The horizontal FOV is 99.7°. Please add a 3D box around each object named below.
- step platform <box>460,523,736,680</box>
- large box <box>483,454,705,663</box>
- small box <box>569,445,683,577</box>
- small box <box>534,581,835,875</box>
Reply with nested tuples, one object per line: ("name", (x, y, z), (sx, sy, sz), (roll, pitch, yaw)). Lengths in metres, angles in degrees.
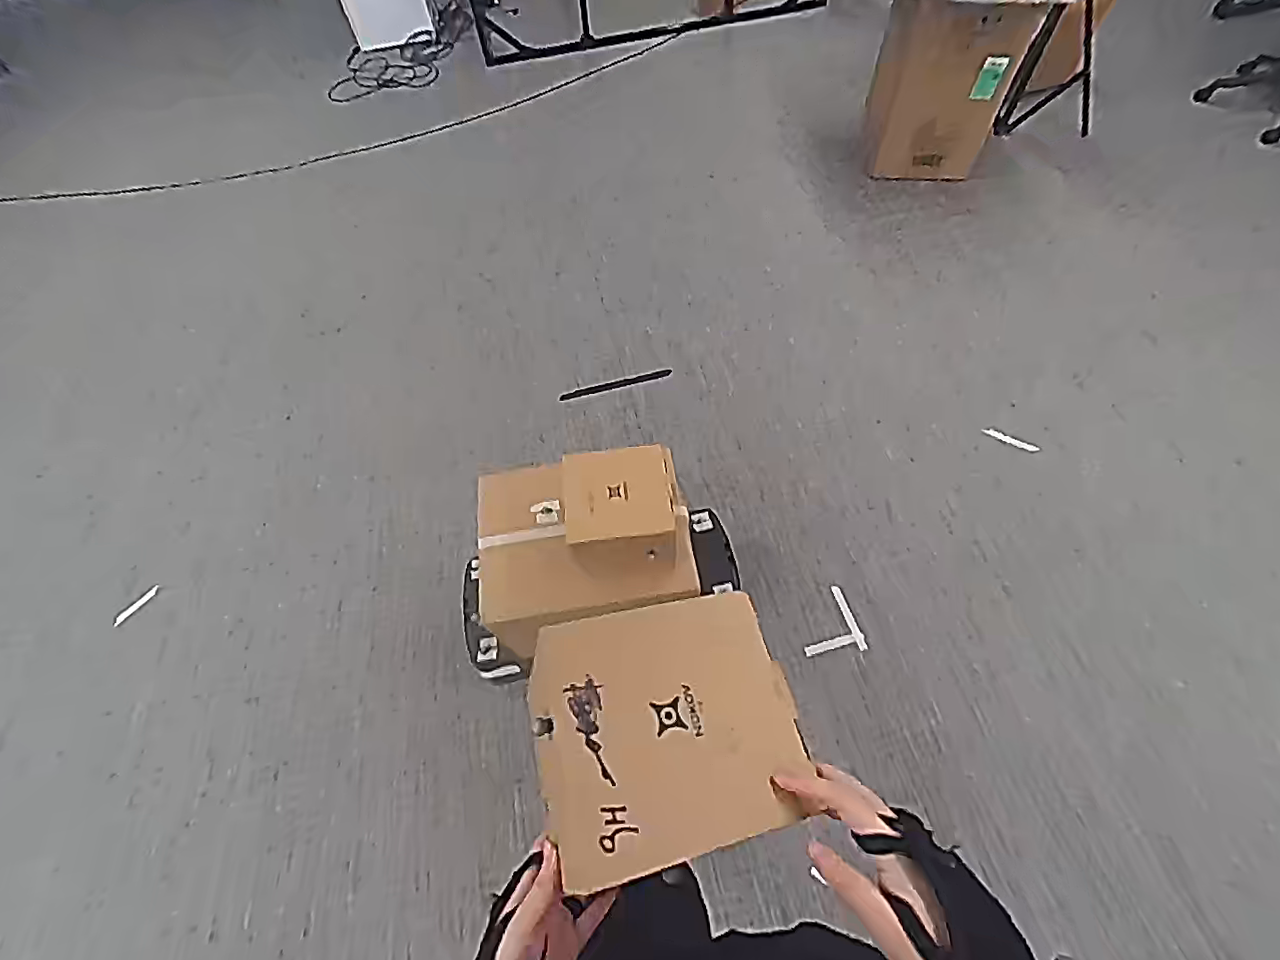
("step platform", (-0.098, 0.304, 1.365), (0.684, 0.204, 0.286), (-8, 60, 1))
("large box", (-0.089, 0.177, 1.162), (0.408, 0.320, 0.320), (-10, 59, 0))
("small box", (-0.023, 0.059, 0.941), (0.179, 0.176, 0.168), (-7, 60, 1))
("small box", (0.016, 0.201, 0.442), (0.179, 0.176, 0.168), (-4, 54, -18))
